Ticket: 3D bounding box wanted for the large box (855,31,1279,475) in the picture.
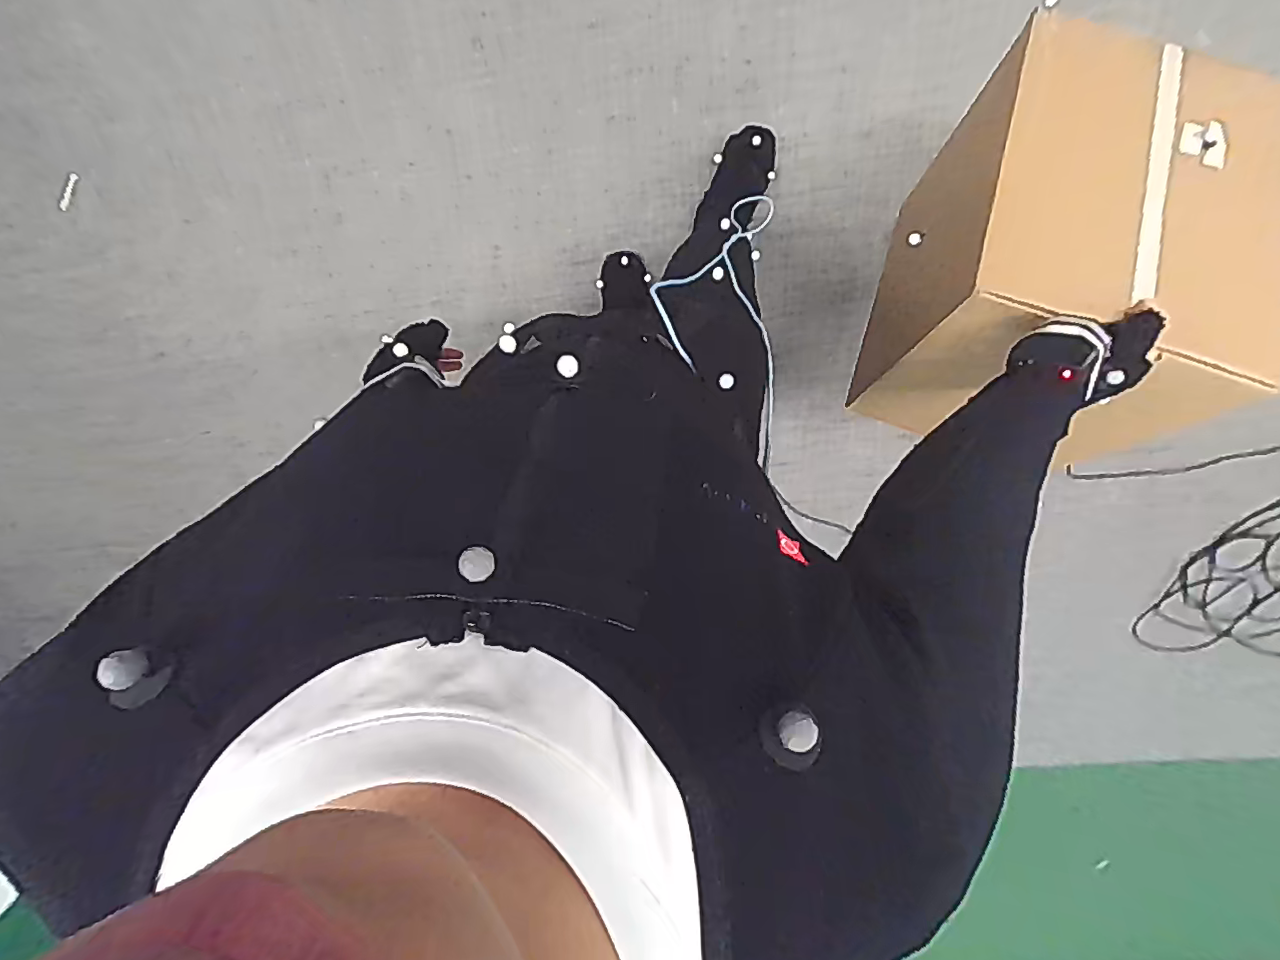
[{"bbox_3d":[0.534,-0.268,0.729,0.320,0.320,0.408,20,75,2],"label":"large box"}]
